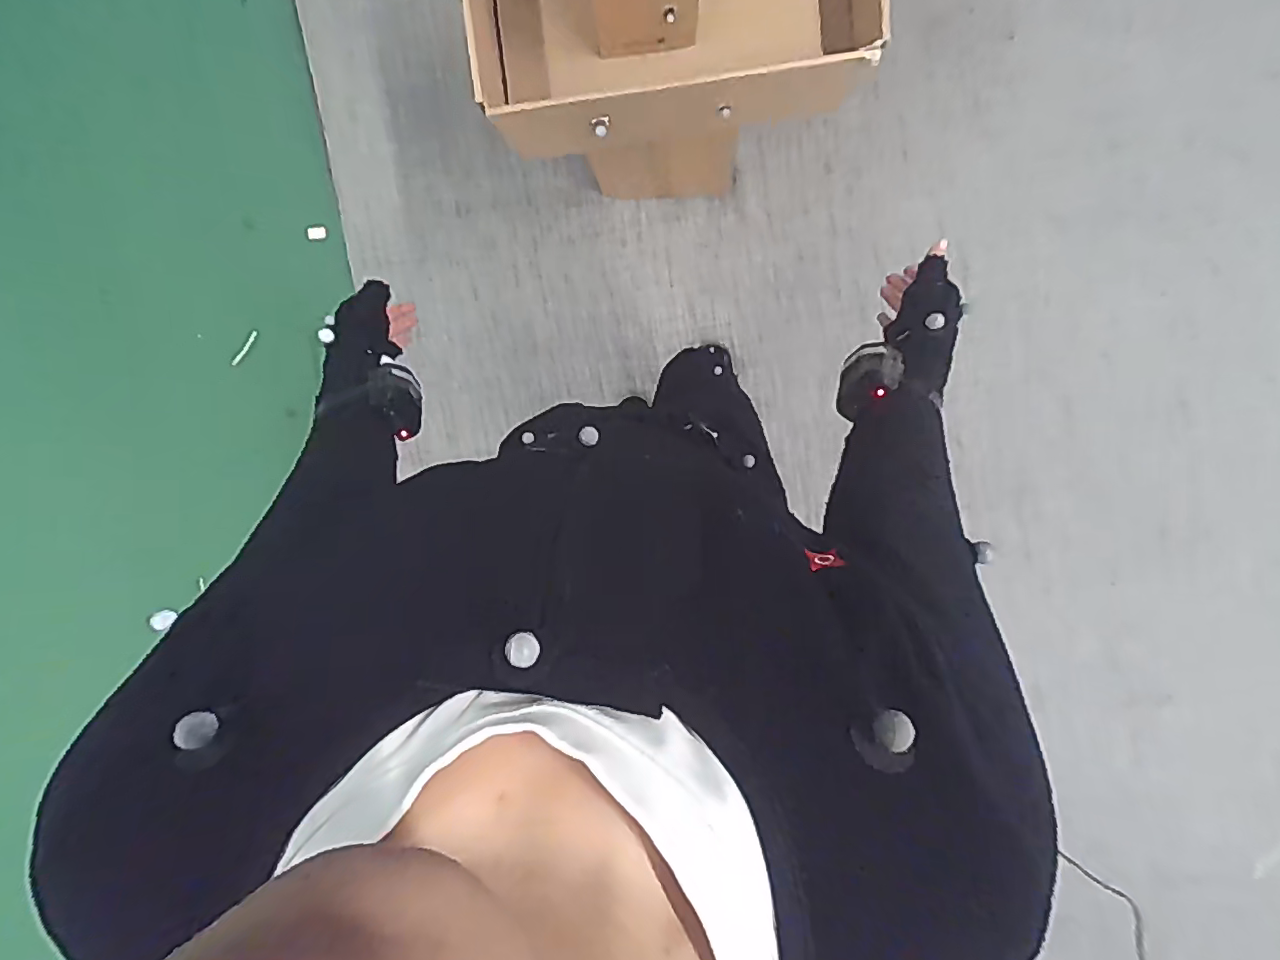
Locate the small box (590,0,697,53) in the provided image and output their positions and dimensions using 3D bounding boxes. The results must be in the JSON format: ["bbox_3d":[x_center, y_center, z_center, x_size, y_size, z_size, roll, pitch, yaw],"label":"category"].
[{"bbox_3d":[0.001,-0.803,0.835,0.168,0.176,0.179,-6,96,2],"label":"small box"}]
